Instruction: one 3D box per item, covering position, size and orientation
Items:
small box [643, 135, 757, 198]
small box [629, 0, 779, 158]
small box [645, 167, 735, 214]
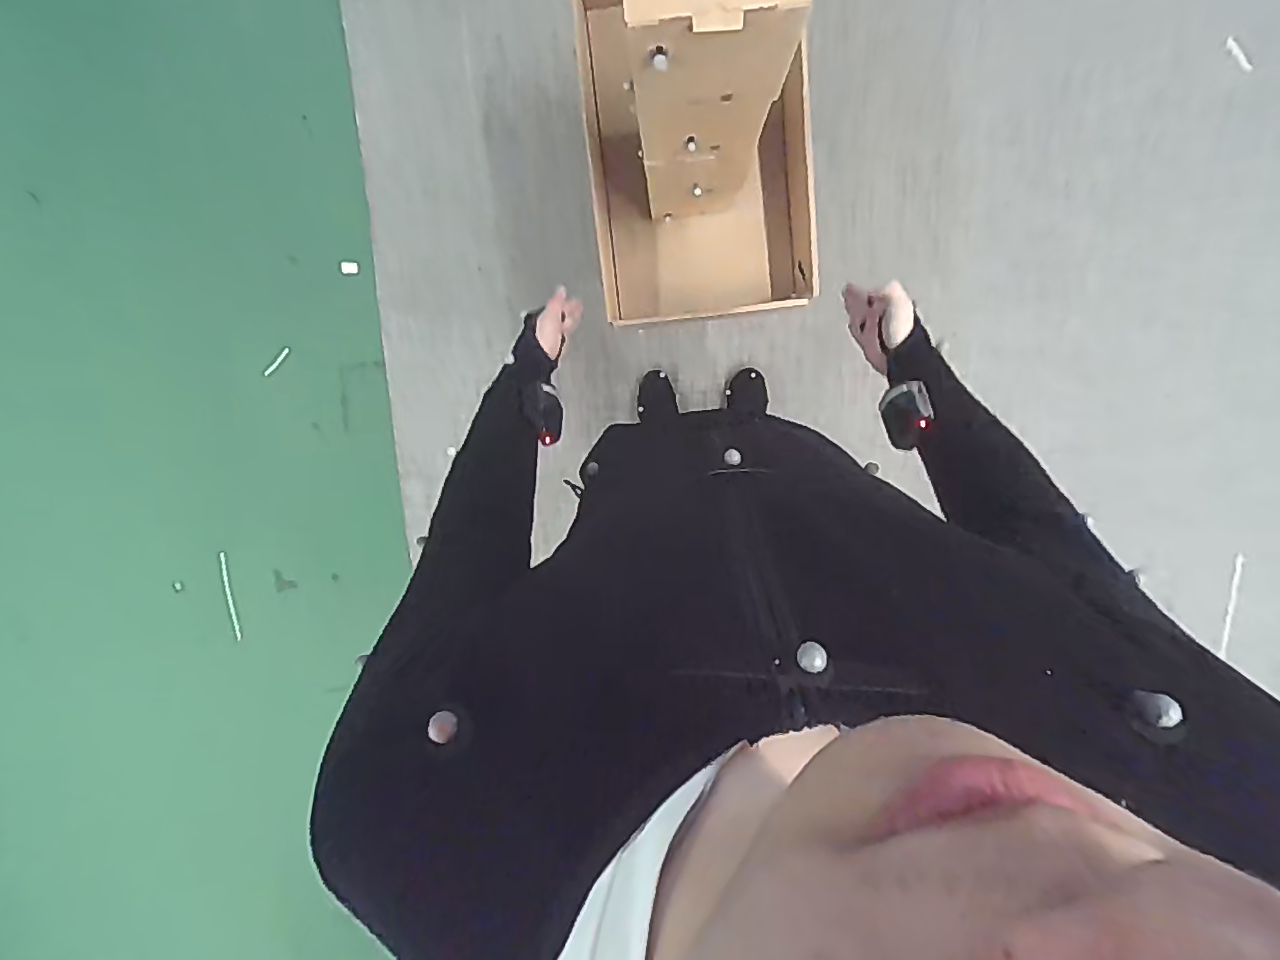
[{"bbox_3d":[0.085,-0.571,0.848,0.168,0.176,0.179,-5,100,5],"label":"small box"},{"bbox_3d":[0.074,-0.545,0.689,0.168,0.176,0.179,-6,101,4],"label":"small box"},{"bbox_3d":[0.093,-0.612,1.008,0.168,0.176,0.179,-4,99,4],"label":"small box"}]
